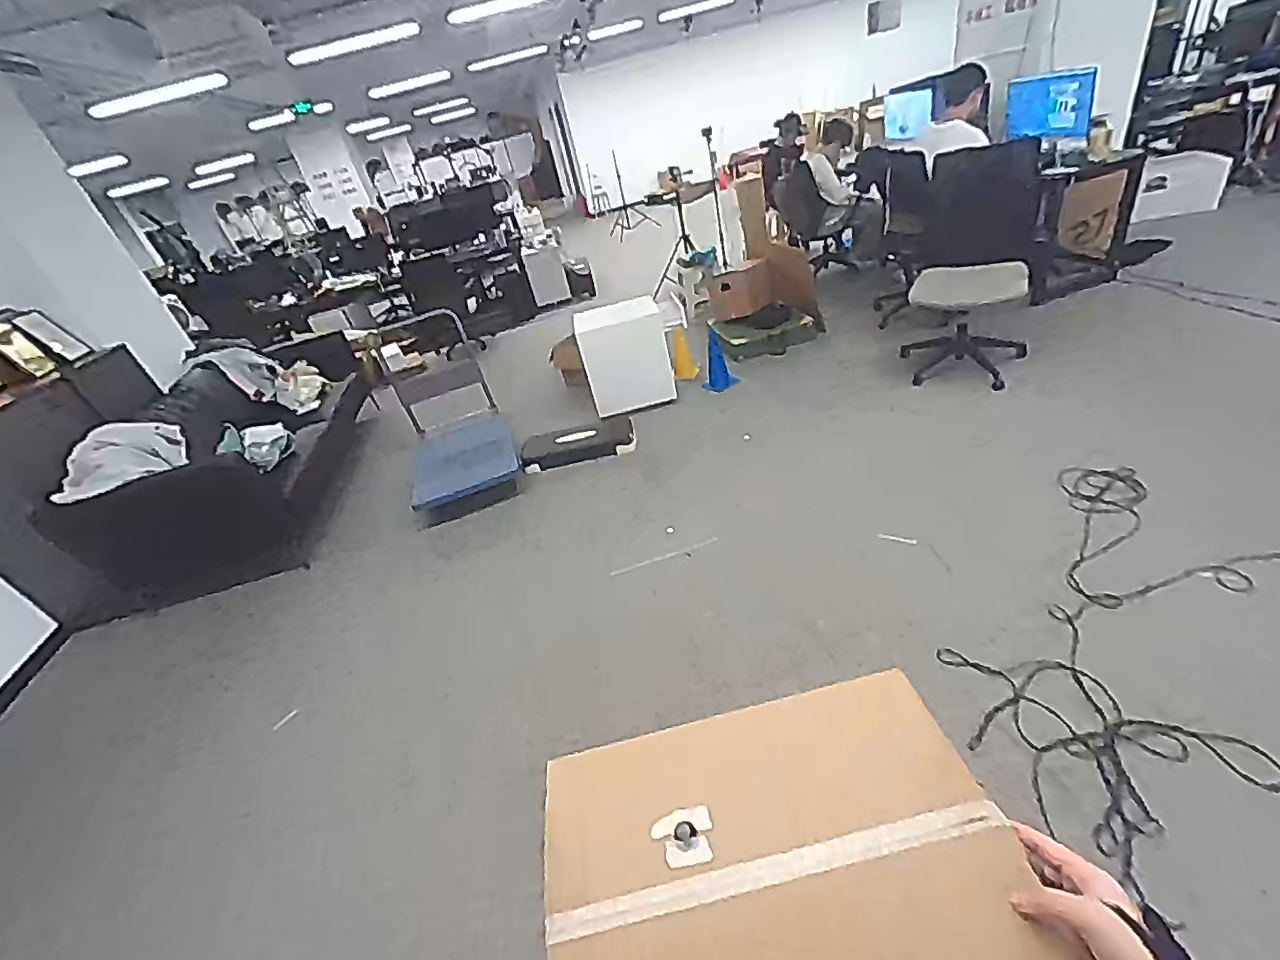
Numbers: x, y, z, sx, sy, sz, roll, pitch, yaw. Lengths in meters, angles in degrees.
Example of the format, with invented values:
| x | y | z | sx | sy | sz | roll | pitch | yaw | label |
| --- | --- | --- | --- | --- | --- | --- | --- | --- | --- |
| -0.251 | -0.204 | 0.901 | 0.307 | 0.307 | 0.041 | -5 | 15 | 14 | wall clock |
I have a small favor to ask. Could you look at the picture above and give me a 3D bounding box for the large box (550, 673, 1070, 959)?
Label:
| x | y | z | sx | sy | sz | roll | pitch | yaw | label |
| --- | --- | --- | --- | --- | --- | --- | --- | --- | --- |
| 0.150 | 0.470 | 0.565 | 0.408 | 0.320 | 0.320 | -17 | 33 | 2 | large box |
